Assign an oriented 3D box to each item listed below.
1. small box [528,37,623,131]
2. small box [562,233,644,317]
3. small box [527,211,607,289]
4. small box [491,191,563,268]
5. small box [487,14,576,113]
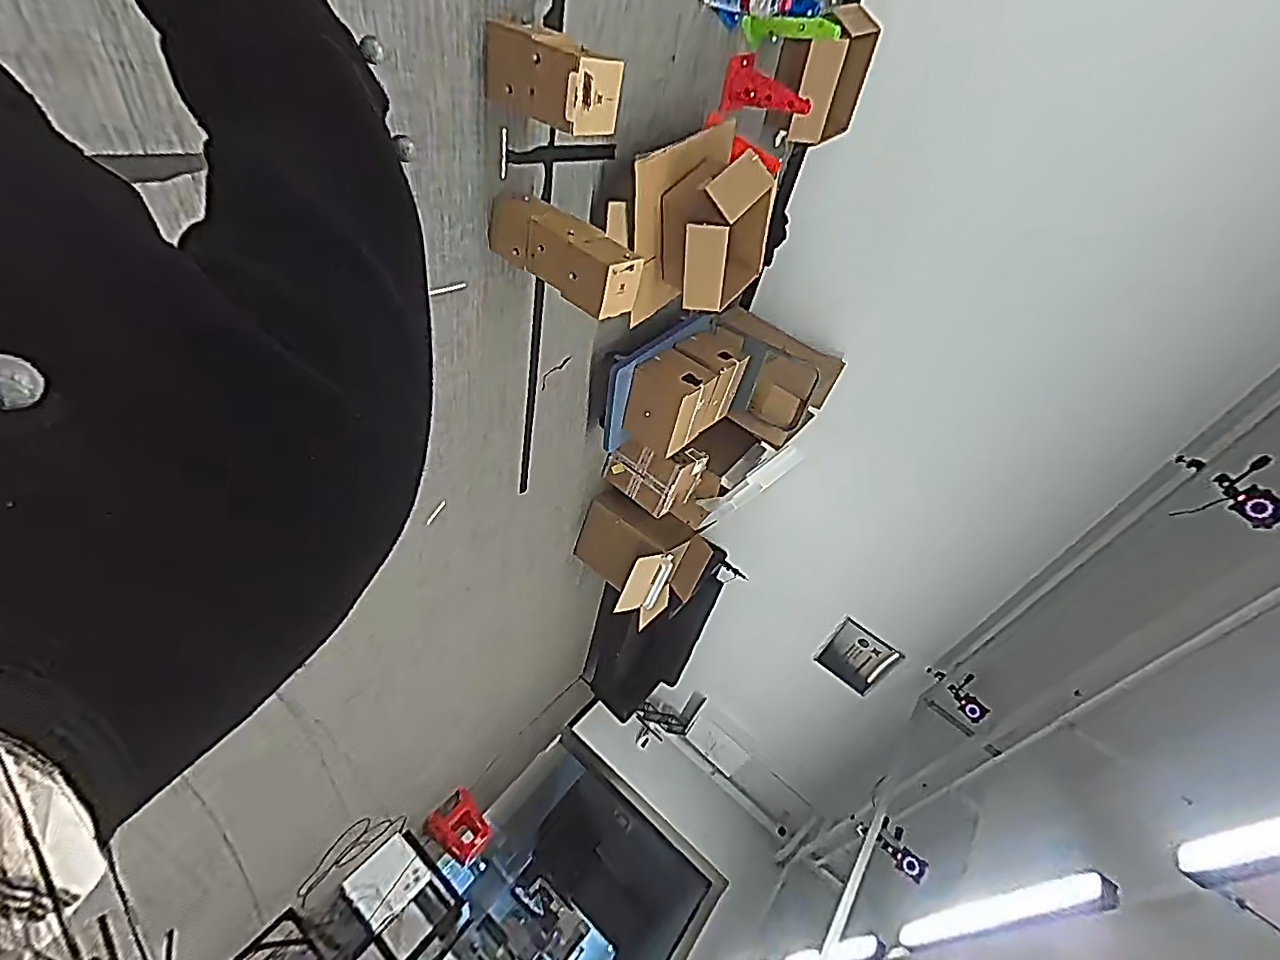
[{"bbox_3d":[-0.172,-1.025,1.405,0.179,0.176,0.168,-38,154,-42],"label":"small box"},{"bbox_3d":[-0.120,-0.636,1.669,0.168,0.176,0.179,-33,153,-42],"label":"small box"},{"bbox_3d":[-0.236,-0.738,1.723,0.179,0.176,0.168,-35,154,-41],"label":"small box"},{"bbox_3d":[-0.368,-0.822,1.770,0.168,0.176,0.179,-34,152,-45],"label":"small box"},{"bbox_3d":[-0.297,-1.119,1.457,0.168,0.176,0.179,-38,153,-39],"label":"small box"}]
